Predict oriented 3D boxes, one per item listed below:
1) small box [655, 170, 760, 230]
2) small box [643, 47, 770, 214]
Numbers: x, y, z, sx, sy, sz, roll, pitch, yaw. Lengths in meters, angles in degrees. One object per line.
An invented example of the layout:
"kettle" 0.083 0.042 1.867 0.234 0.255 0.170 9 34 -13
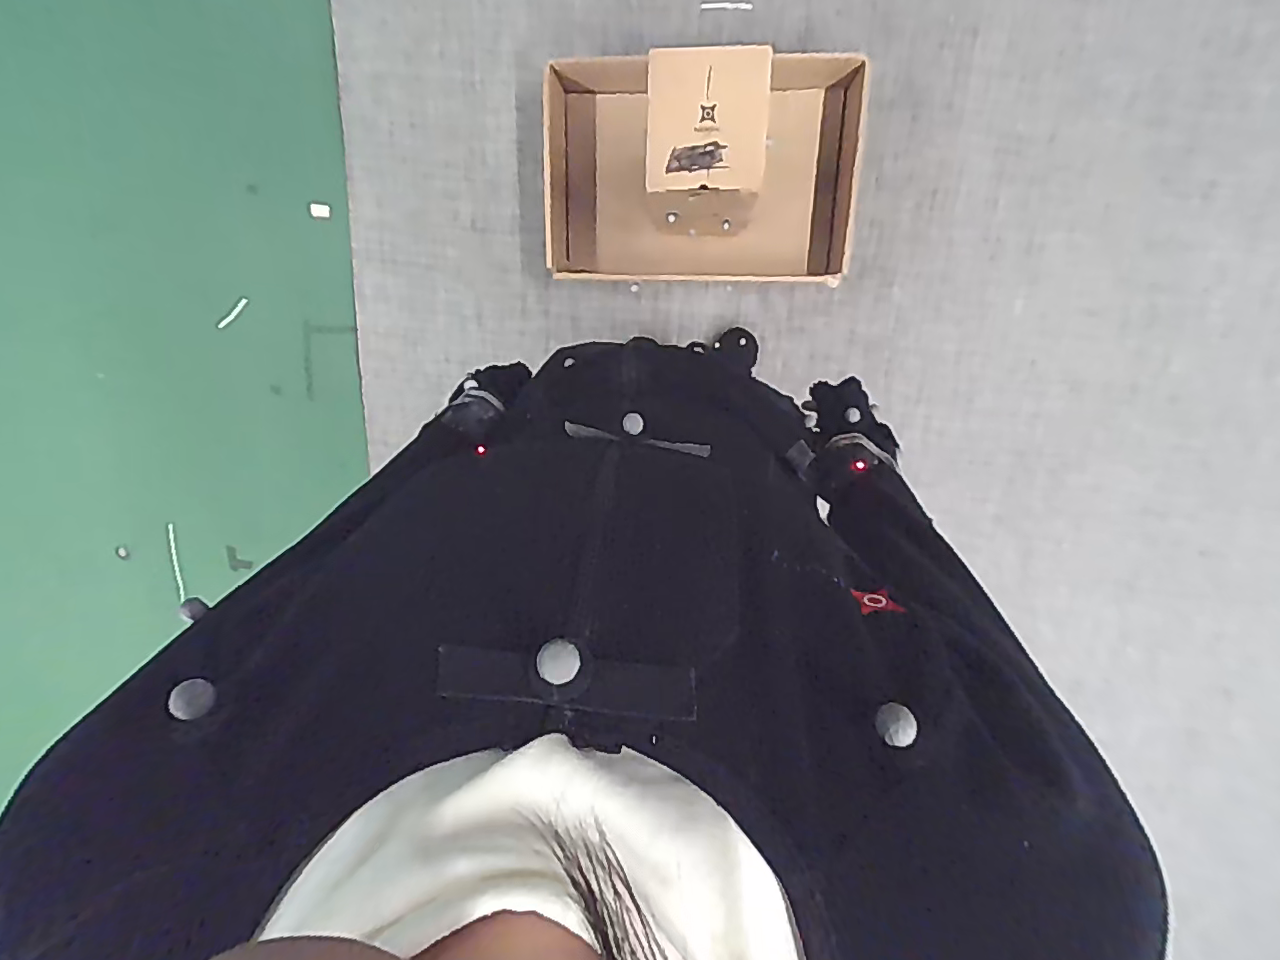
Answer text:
"small box" 0.116 -0.551 0.962 0.179 0.176 0.168 0 105 6
"small box" 0.098 -0.512 0.819 0.168 0.176 0.179 3 104 5
